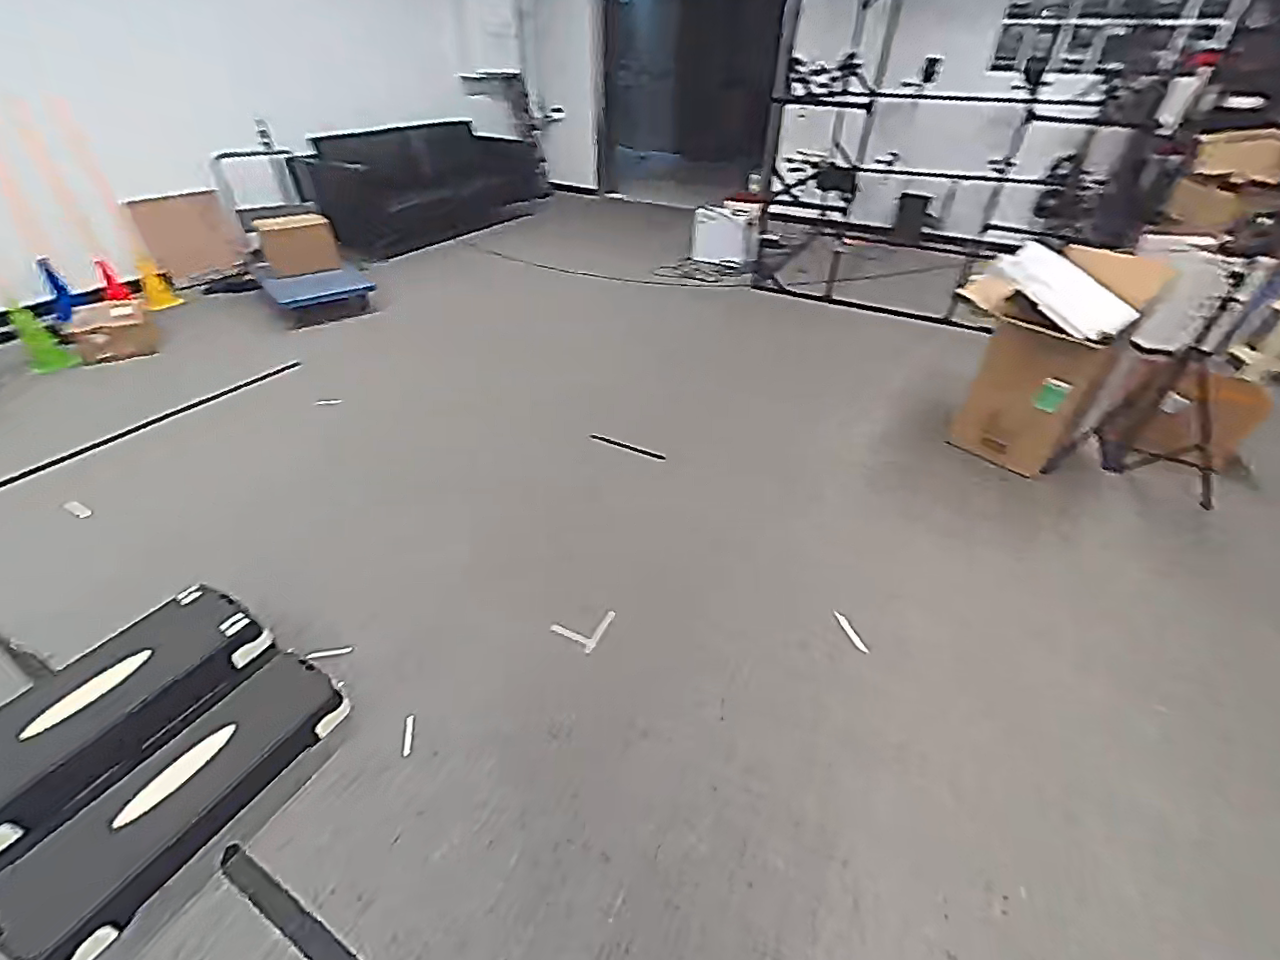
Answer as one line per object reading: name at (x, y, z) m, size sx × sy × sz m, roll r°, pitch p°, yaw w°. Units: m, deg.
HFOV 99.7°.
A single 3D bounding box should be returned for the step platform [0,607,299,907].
step platform at (-1.265, 0.626, 1.342) m, size 0.286 × 0.204 × 0.684 m, roll 22°, pitch 40°, yaw 26°
